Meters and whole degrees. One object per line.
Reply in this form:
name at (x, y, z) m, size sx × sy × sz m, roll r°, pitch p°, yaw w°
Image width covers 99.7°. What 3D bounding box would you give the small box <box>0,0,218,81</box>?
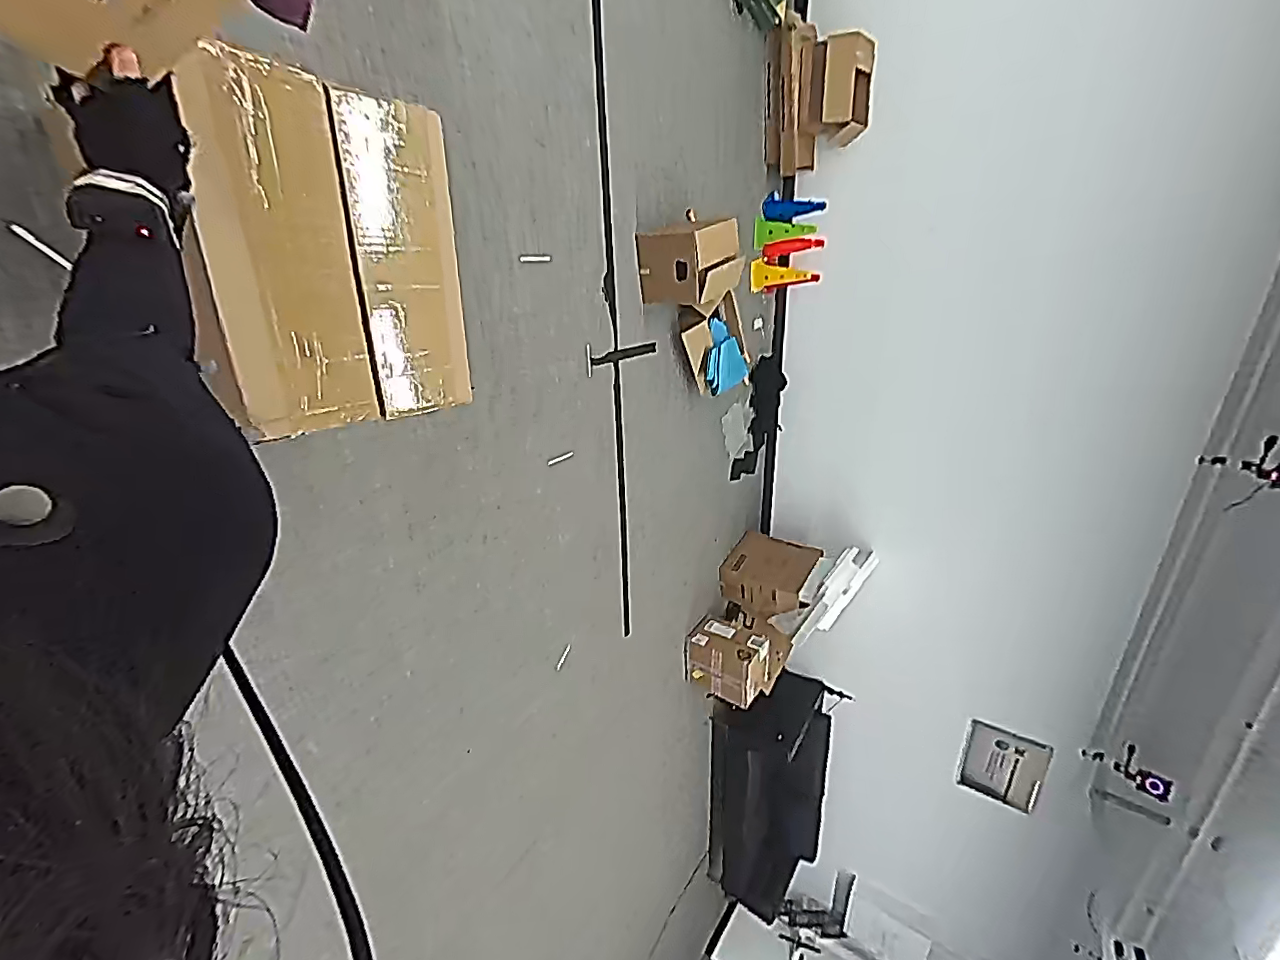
small box at (-0.454, -0.459, 0.391) m, size 0.176 × 0.168 × 0.179 m, roll 60°, pitch 9°, yaw -6°
